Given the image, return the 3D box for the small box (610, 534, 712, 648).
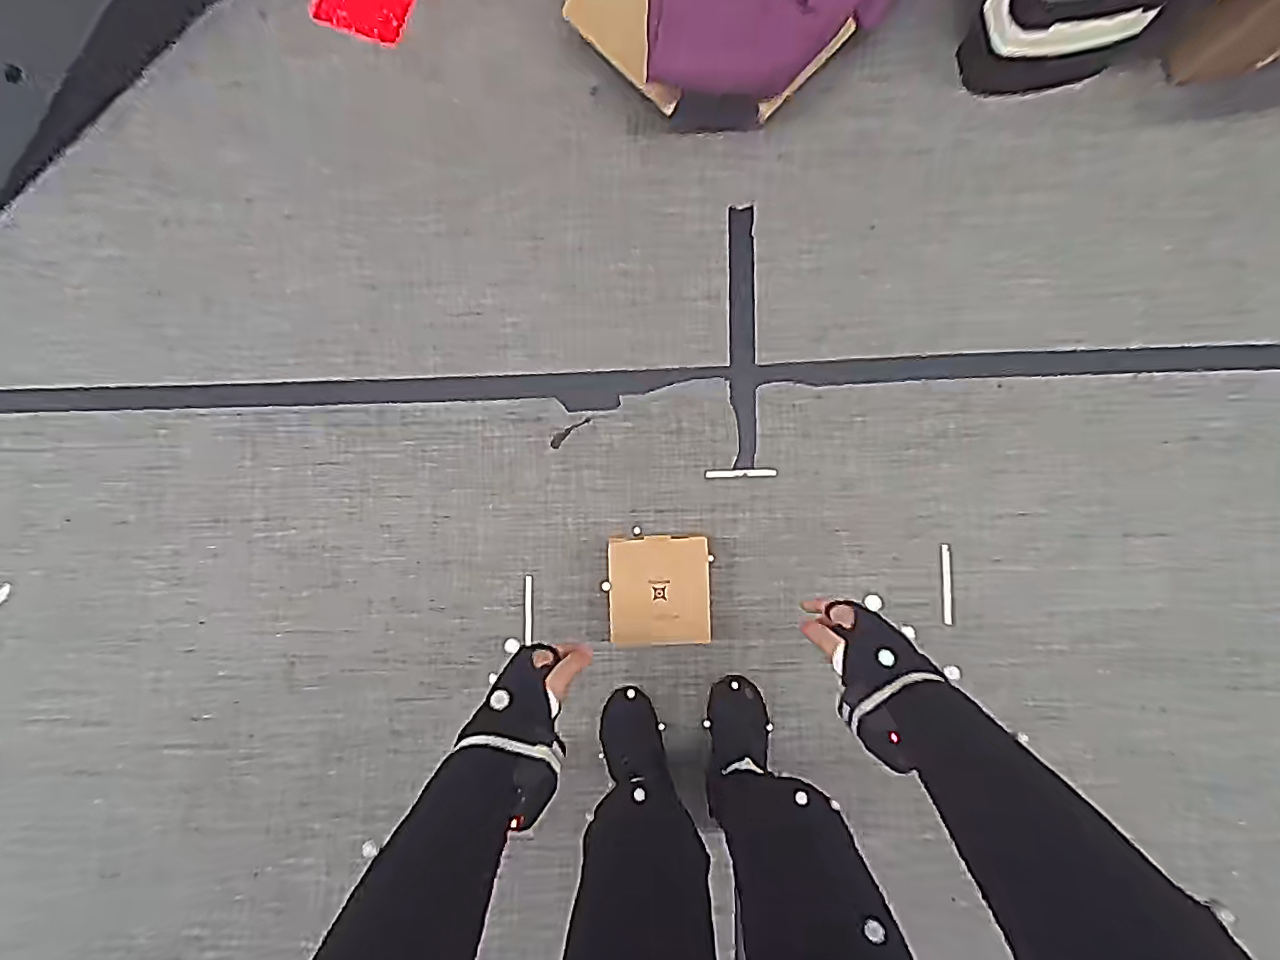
[{"bbox_3d":[0.035,0.186,0.954,0.168,0.176,0.179,-2,88,2],"label":"small box"}]
